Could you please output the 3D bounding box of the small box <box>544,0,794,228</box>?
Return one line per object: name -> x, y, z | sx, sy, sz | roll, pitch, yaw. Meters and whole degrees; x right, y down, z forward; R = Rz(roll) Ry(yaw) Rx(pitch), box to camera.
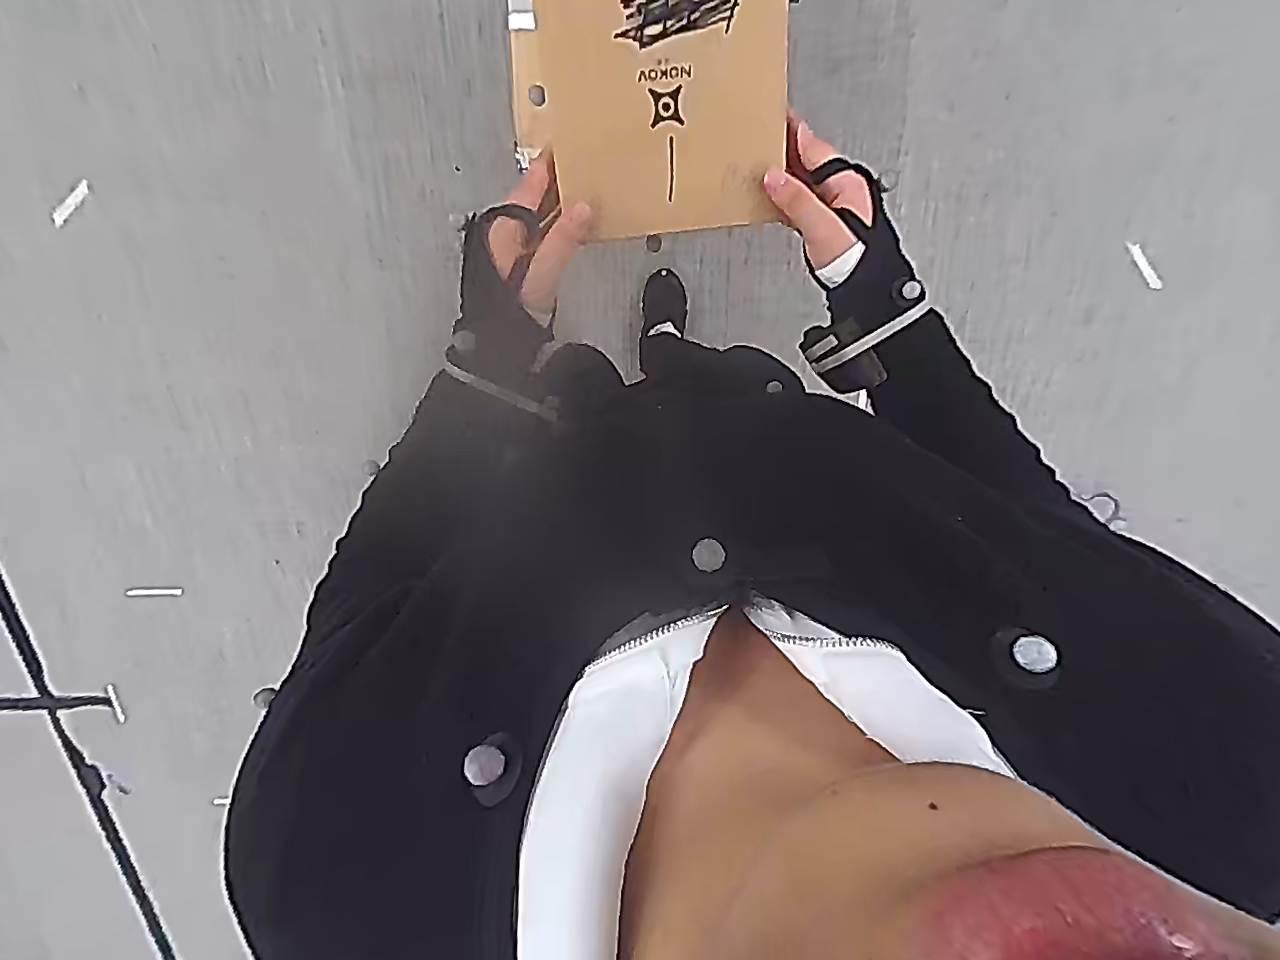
small box -> 0.015, -0.305, 0.435 | 0.168, 0.176, 0.179 | -6, 116, -2
